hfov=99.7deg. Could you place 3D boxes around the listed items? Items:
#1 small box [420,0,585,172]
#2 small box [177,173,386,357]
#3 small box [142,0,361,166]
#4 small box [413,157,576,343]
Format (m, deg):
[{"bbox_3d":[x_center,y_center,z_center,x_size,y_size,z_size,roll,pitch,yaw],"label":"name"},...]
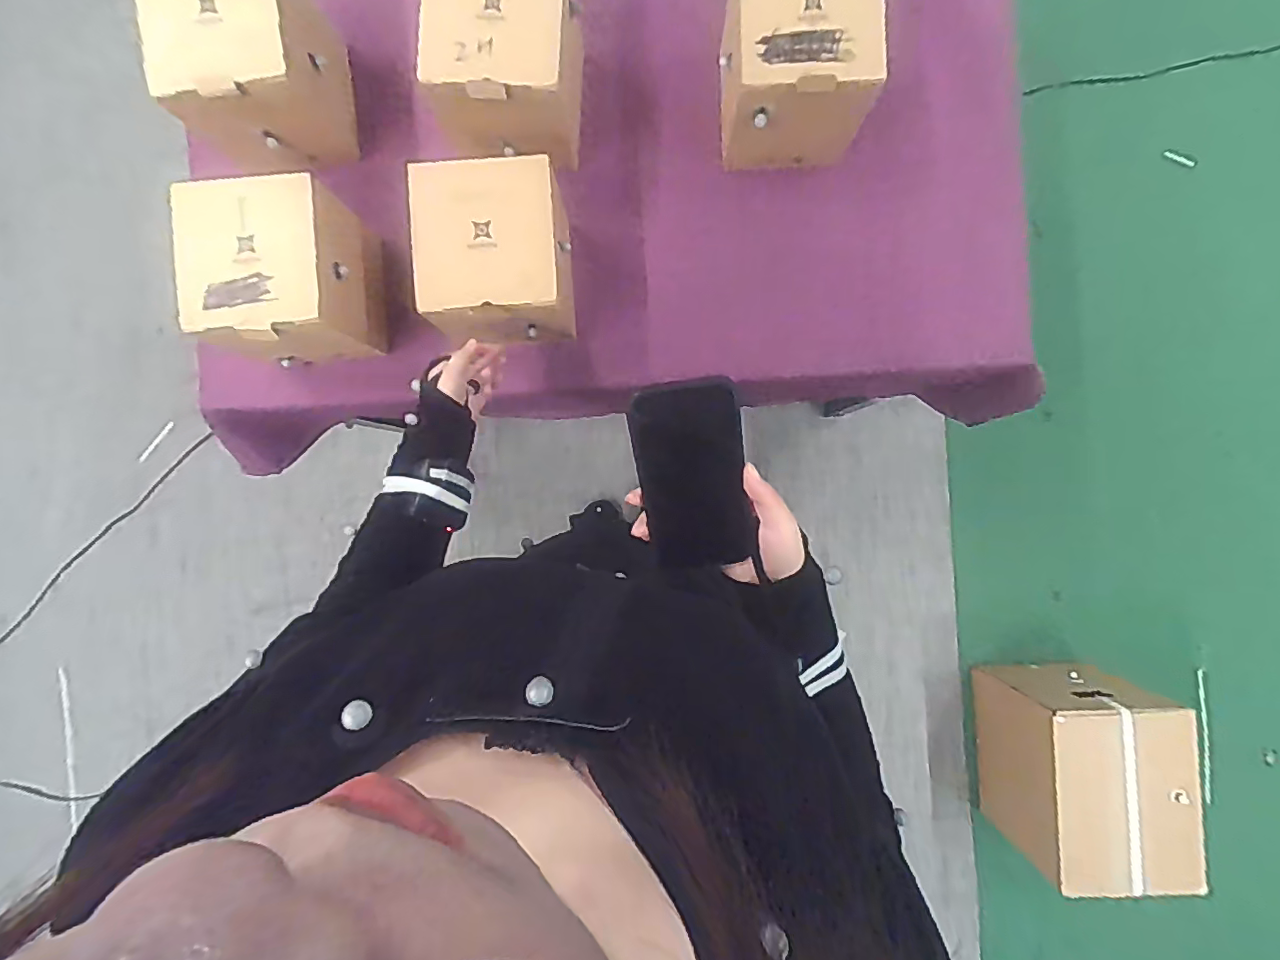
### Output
[{"bbox_3d":[-0.165,-0.539,0.703,0.168,0.176,0.179,4,90,1],"label":"small box"},{"bbox_3d":[-0.451,-0.264,0.707,0.168,0.176,0.179,-4,88,0],"label":"small box"},{"bbox_3d":[-0.492,-0.540,0.708,0.168,0.176,0.179,-7,91,0],"label":"small box"},{"bbox_3d":[-0.177,-0.282,0.704,0.168,0.176,0.179,-3,89,0],"label":"small box"}]
